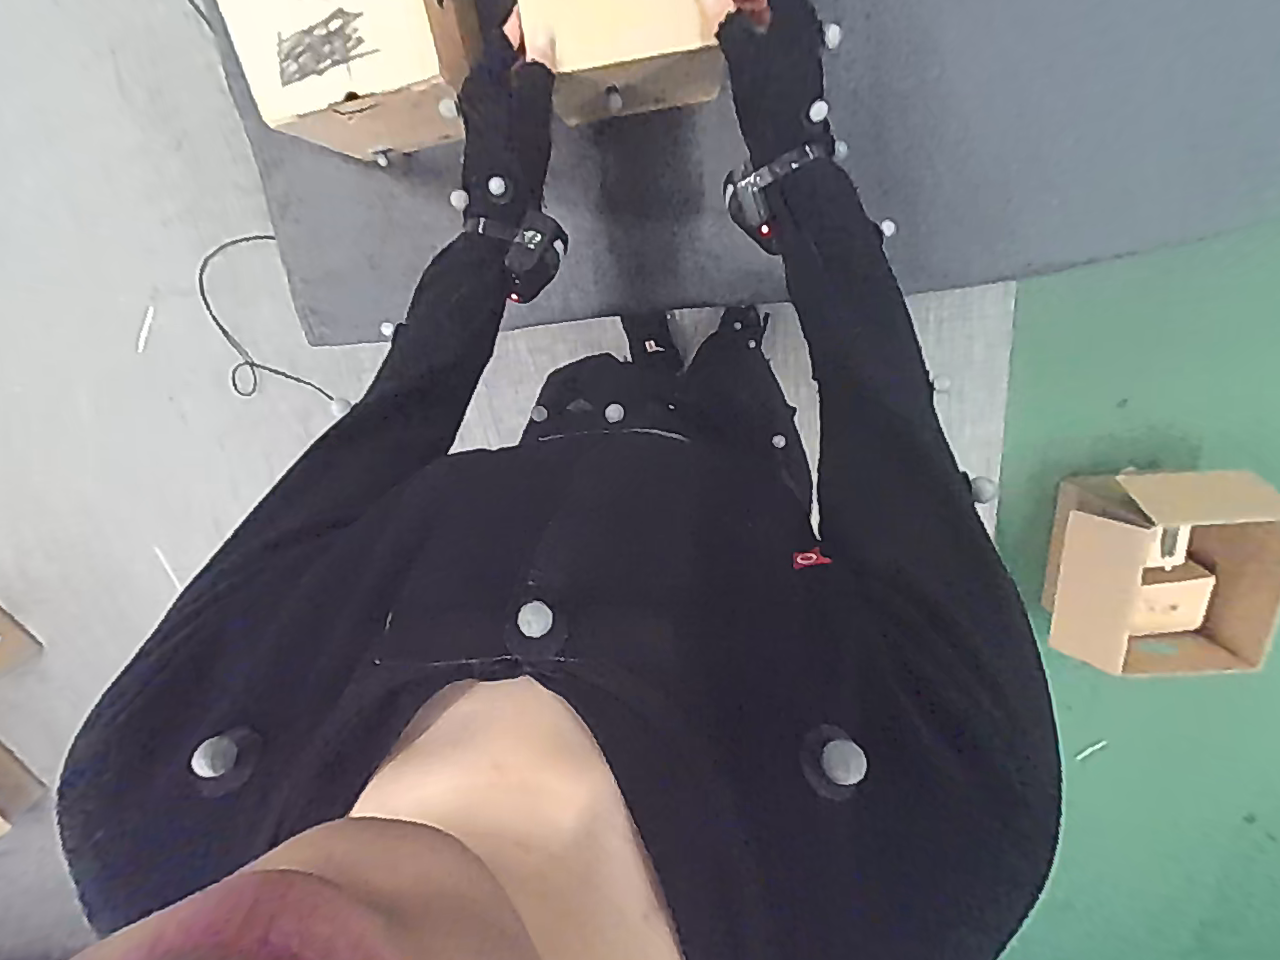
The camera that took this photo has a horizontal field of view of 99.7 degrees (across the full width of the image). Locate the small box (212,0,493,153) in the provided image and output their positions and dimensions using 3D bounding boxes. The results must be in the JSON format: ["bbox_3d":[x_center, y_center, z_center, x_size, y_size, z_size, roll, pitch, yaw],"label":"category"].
[{"bbox_3d":[-0.252,-0.418,0.491,0.168,0.176,0.179,-9,110,7],"label":"small box"}]
